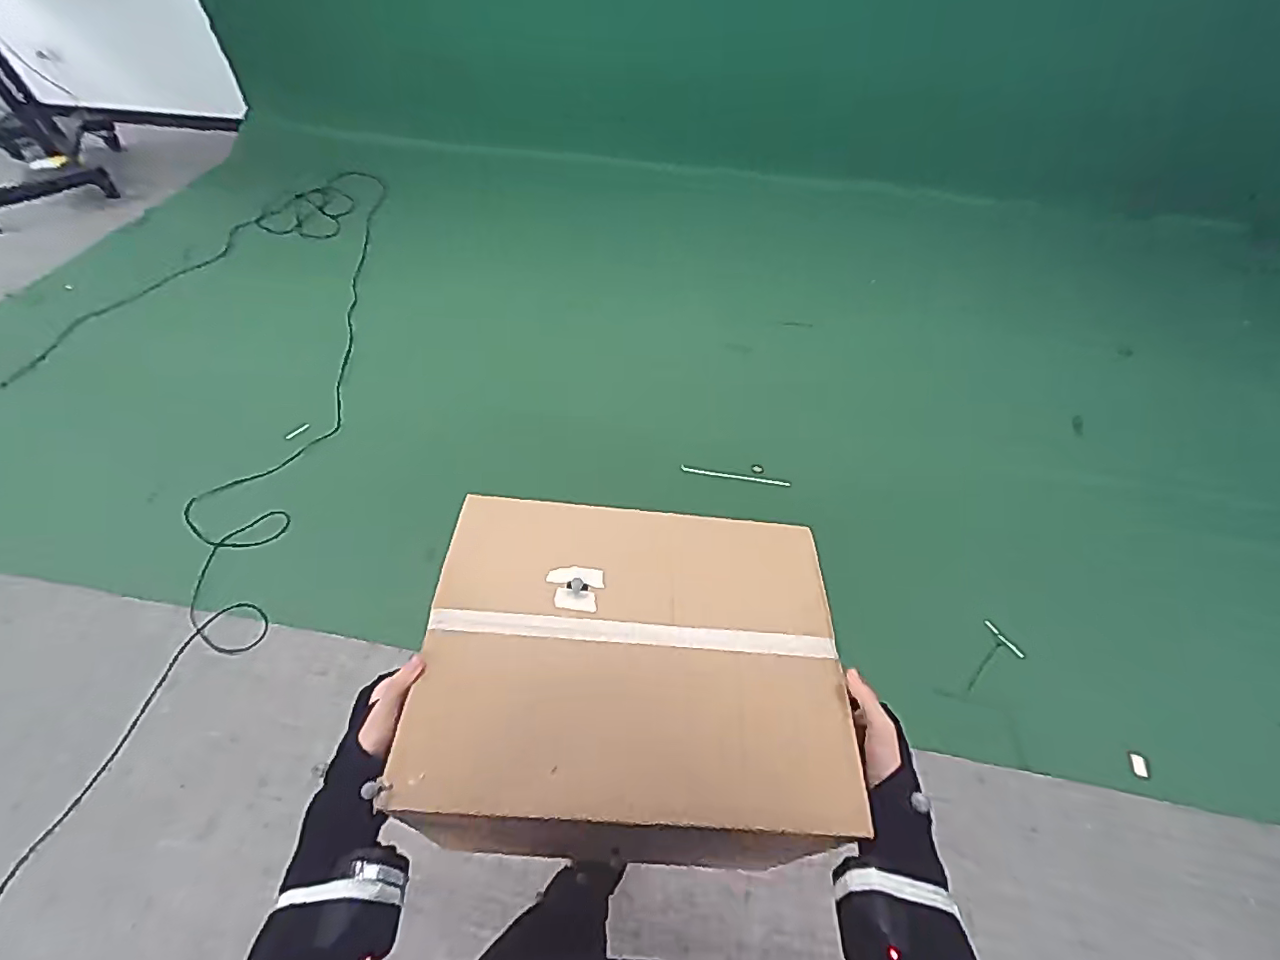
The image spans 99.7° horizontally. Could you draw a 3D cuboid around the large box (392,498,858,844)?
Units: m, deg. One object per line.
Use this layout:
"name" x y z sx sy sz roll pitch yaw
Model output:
"large box" -0.016 0.246 0.663 0.408 0.320 0.320 5 50 -3
